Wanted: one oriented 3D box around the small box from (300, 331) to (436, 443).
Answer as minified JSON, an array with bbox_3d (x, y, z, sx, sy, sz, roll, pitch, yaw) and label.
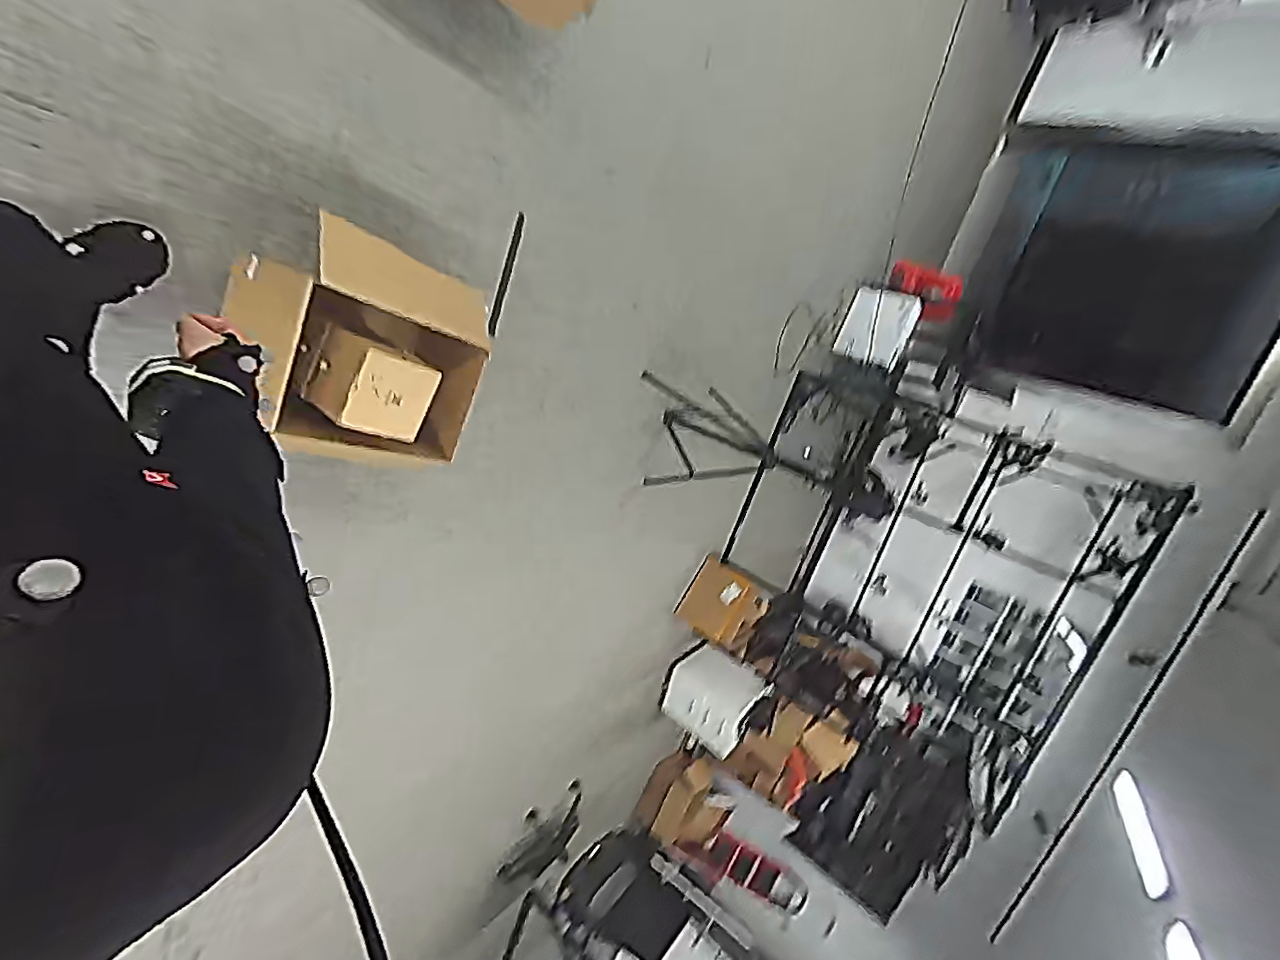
[{"bbox_3d":[-0.585,-0.201,1.164,0.179,0.176,0.168,16,102,-59],"label":"small box"}]
